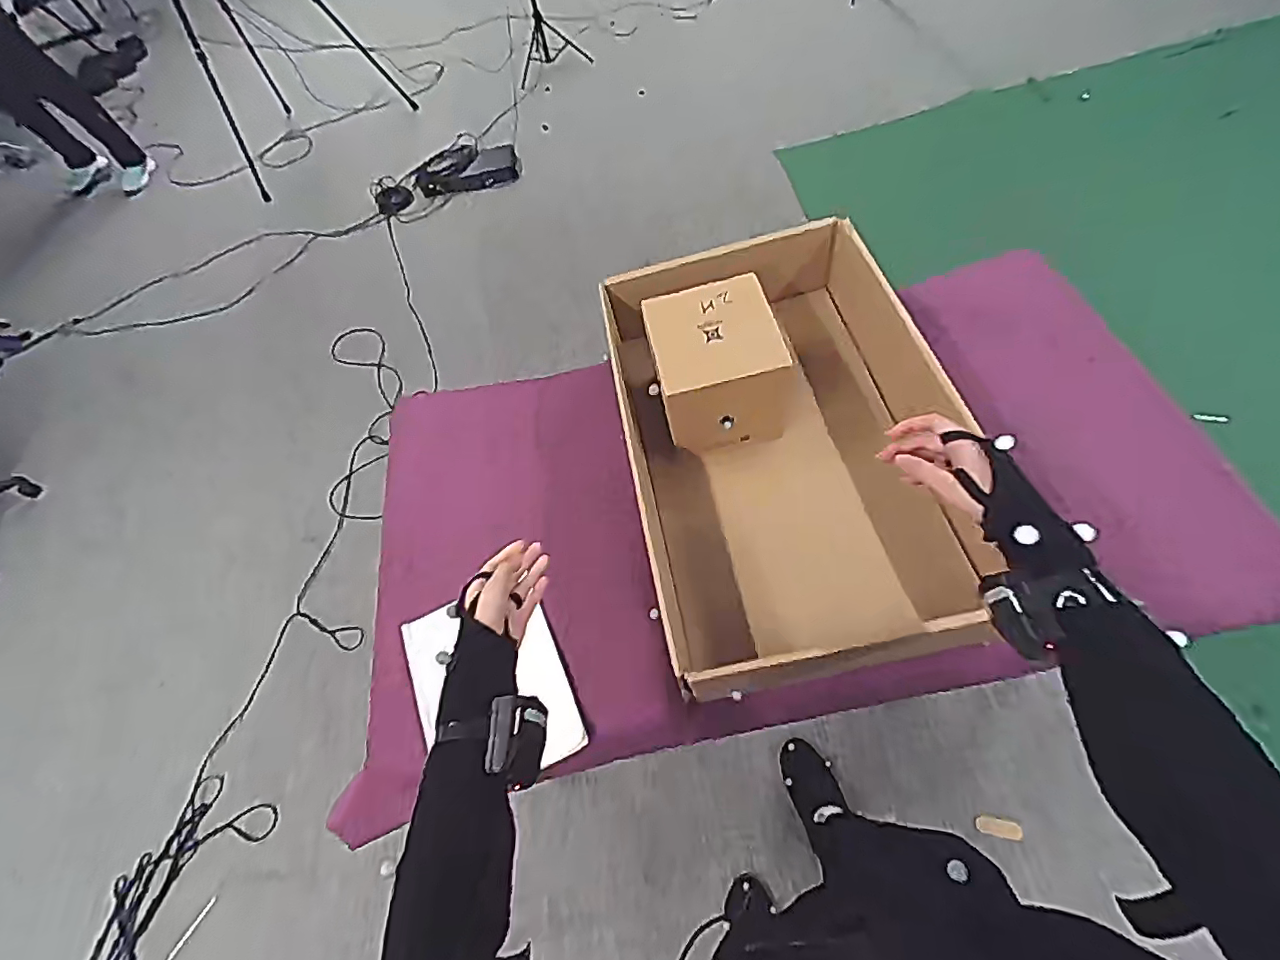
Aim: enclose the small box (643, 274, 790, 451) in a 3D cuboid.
[{"bbox_3d":[0.110,-0.158,0.783,0.168,0.176,0.179,-13,60,3],"label":"small box"}]
